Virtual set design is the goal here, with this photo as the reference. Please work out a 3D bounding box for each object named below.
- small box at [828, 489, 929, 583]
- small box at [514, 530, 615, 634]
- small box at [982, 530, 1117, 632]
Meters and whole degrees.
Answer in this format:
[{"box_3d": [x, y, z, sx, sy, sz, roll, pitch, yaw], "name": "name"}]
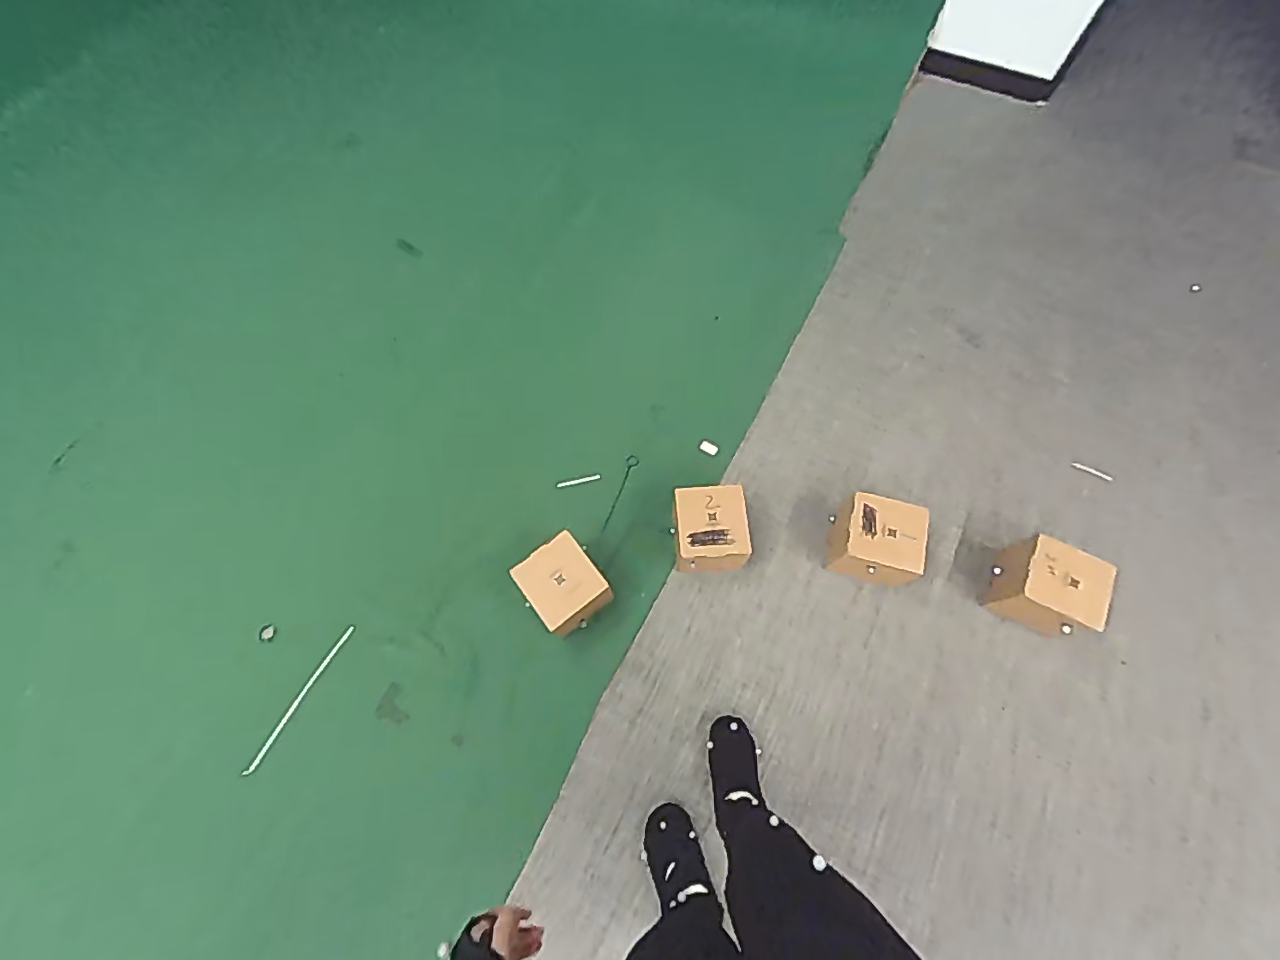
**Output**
[{"box_3d": [0.581, 0.144, 1.334, 0.179, 0.176, 0.168, 15, 69, 6], "name": "small box"}, {"box_3d": [-0.177, 0.254, 1.314, 0.168, 0.176, 0.179, -36, 72, -12], "name": "small box"}, {"box_3d": [0.963, 0.247, 1.283, 0.179, 0.176, 0.168, 26, 71, 11], "name": "small box"}]
